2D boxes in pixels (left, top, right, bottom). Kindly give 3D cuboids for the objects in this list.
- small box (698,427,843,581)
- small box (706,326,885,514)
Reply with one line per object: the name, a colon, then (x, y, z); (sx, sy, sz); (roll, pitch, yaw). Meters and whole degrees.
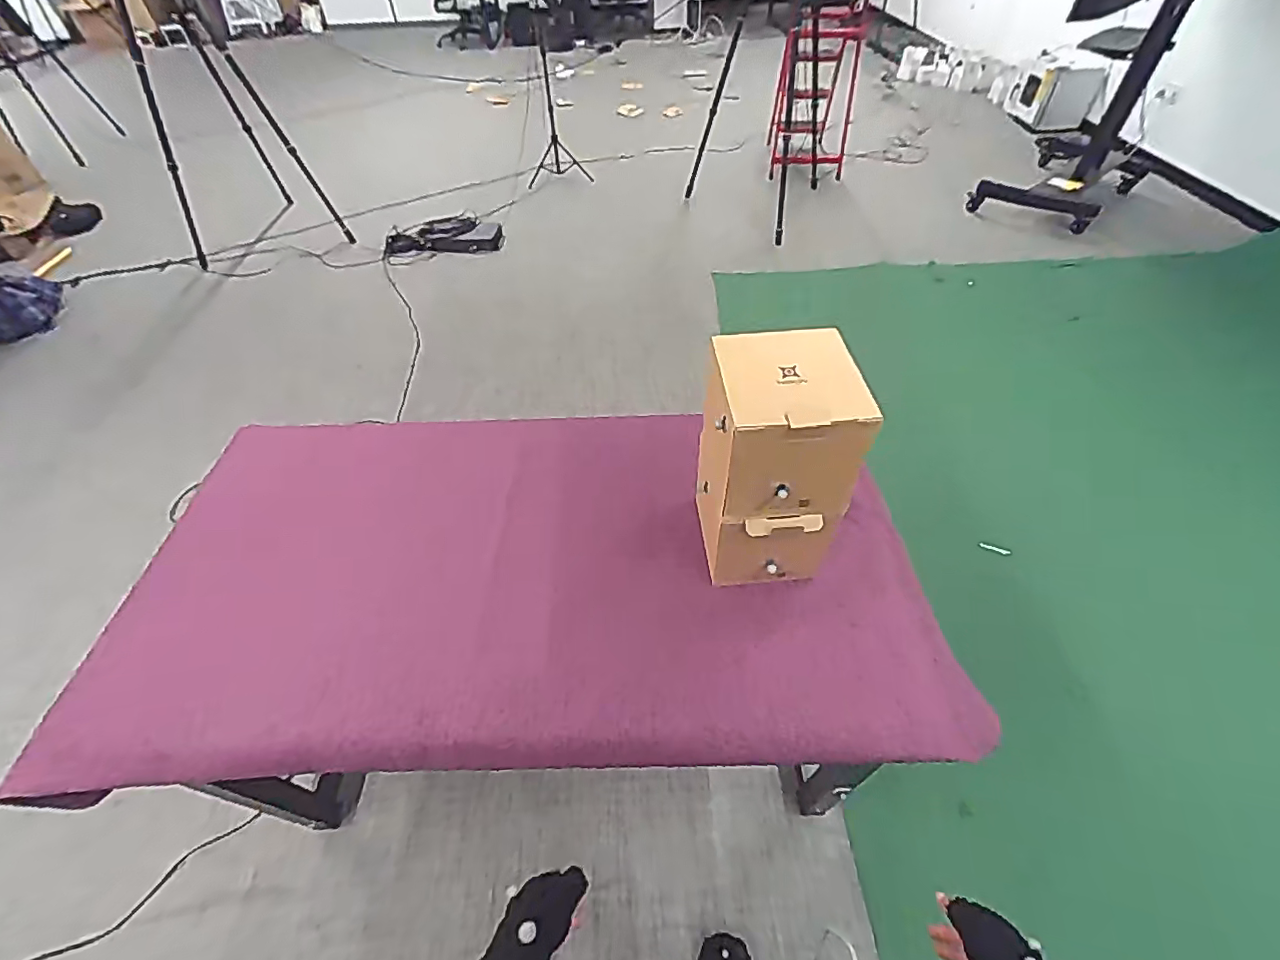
small box: (0.183, 0.032, 0.822); (0.168, 0.176, 0.179); (-5, 50, -1)
small box: (0.182, -0.077, 0.700); (0.168, 0.176, 0.179); (-4, 50, -2)
